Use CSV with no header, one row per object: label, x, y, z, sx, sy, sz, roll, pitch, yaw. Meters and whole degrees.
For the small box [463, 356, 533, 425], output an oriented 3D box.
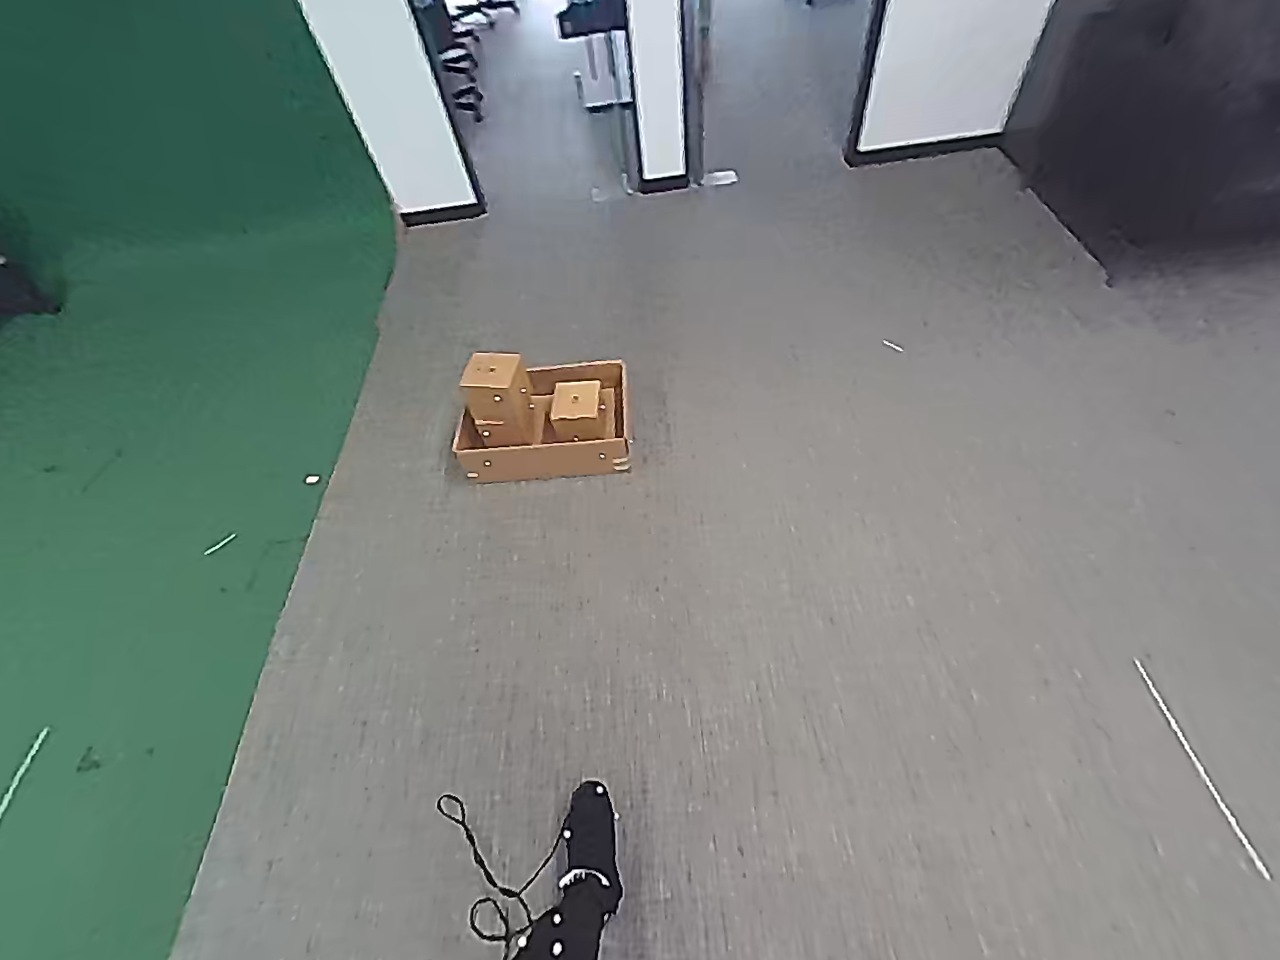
small box,-0.487,-0.309,1.889,0.179,0.176,0.168,4,54,8
